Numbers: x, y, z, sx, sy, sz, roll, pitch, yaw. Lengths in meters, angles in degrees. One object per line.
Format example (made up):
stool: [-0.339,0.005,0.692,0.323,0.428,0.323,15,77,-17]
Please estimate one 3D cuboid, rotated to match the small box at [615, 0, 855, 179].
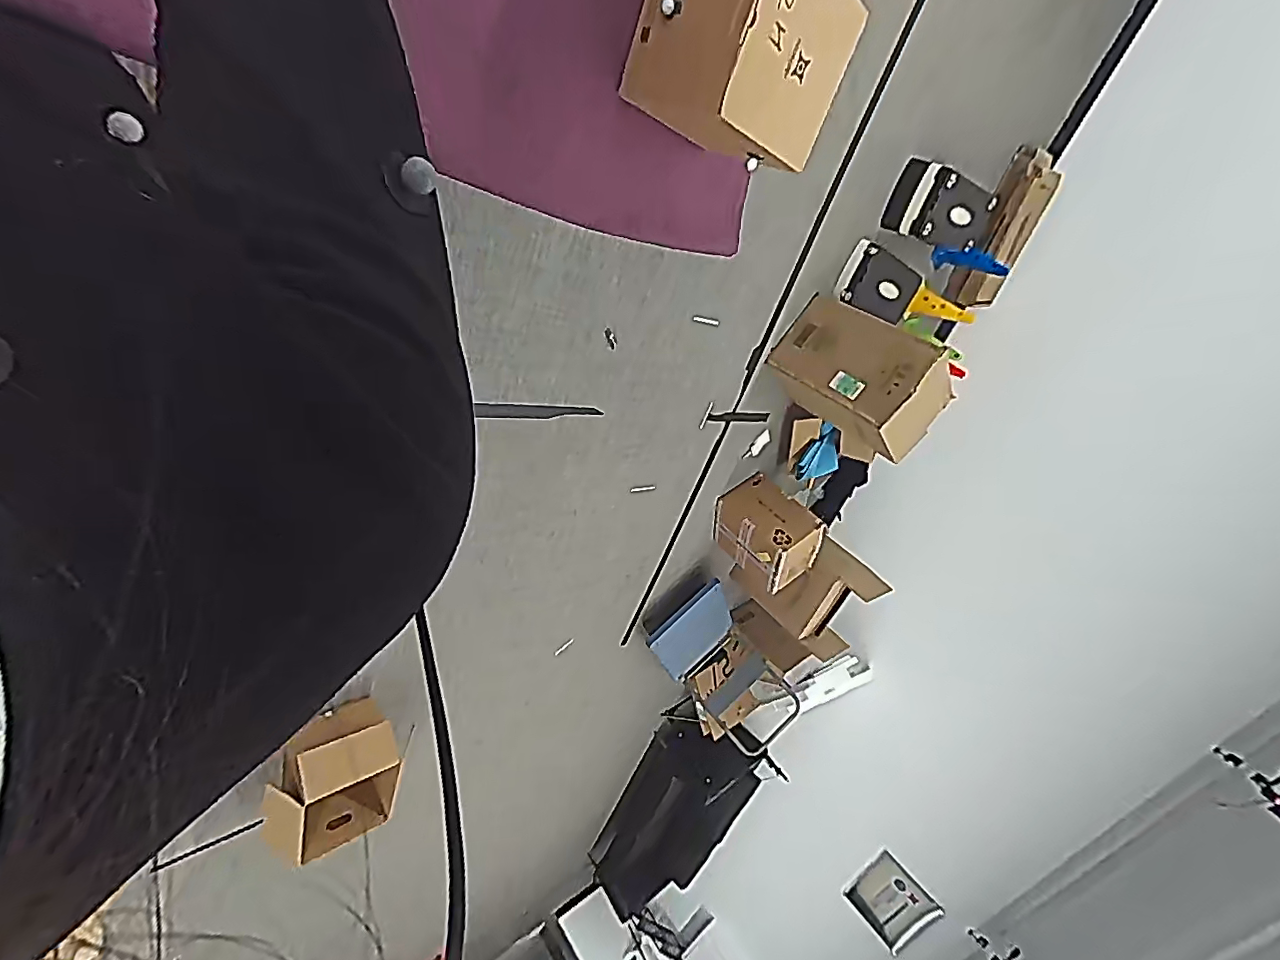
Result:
small box: [0.104,-0.480,0.624,0.179,0.176,0.168,-4,124,-46]
